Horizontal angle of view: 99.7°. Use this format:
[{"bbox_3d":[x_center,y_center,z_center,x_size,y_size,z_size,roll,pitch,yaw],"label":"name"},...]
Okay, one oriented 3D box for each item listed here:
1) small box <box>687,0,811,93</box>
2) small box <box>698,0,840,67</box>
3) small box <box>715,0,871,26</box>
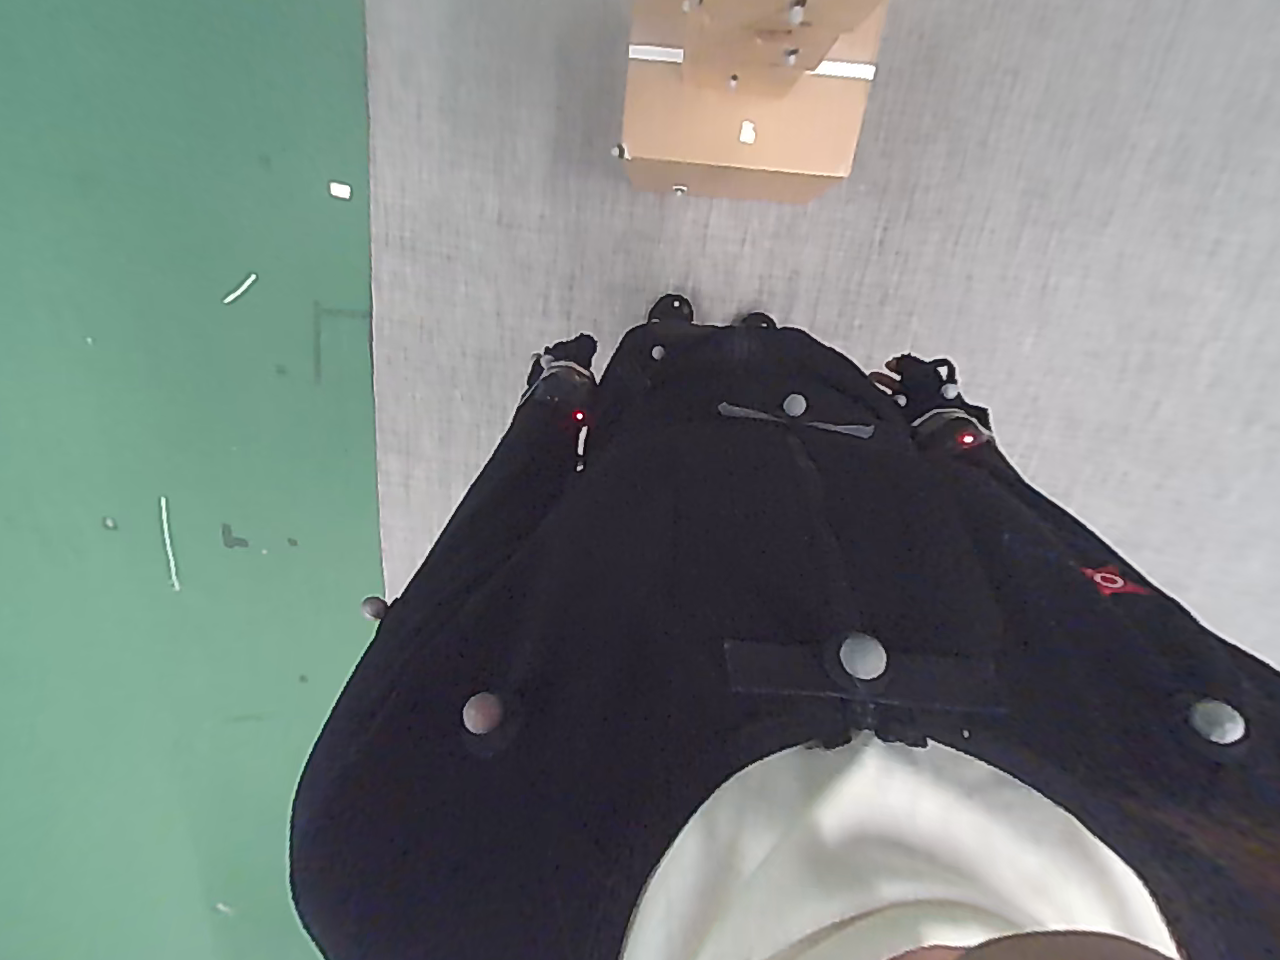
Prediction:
[{"bbox_3d":[0.167,-0.696,0.805,0.179,0.176,0.168,7,116,2],"label":"small box"},{"bbox_3d":[0.161,-0.629,0.657,0.168,0.176,0.179,4,114,2],"label":"small box"},{"bbox_3d":[0.162,-0.560,0.508,0.168,0.176,0.179,5,116,2],"label":"small box"}]
